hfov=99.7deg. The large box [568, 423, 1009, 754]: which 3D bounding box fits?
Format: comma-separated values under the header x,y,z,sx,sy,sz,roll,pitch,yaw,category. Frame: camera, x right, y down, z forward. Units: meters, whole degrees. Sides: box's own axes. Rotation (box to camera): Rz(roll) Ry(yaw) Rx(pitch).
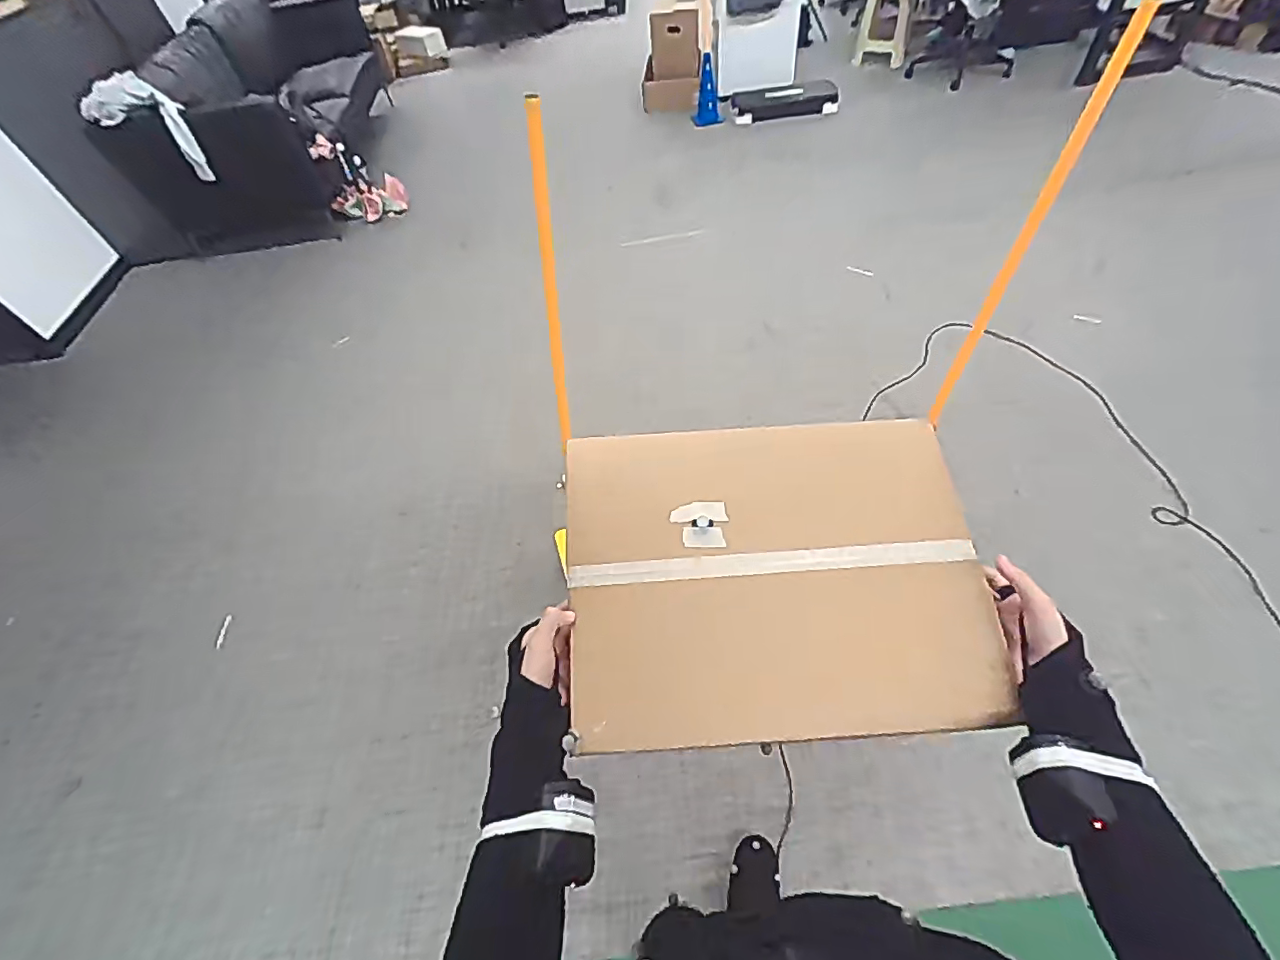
x,y,z,sx,sy,sz,roll,pitch,yaw,category
0.135,0.151,0.684,0.408,0.320,0.320,-4,65,0,large box
